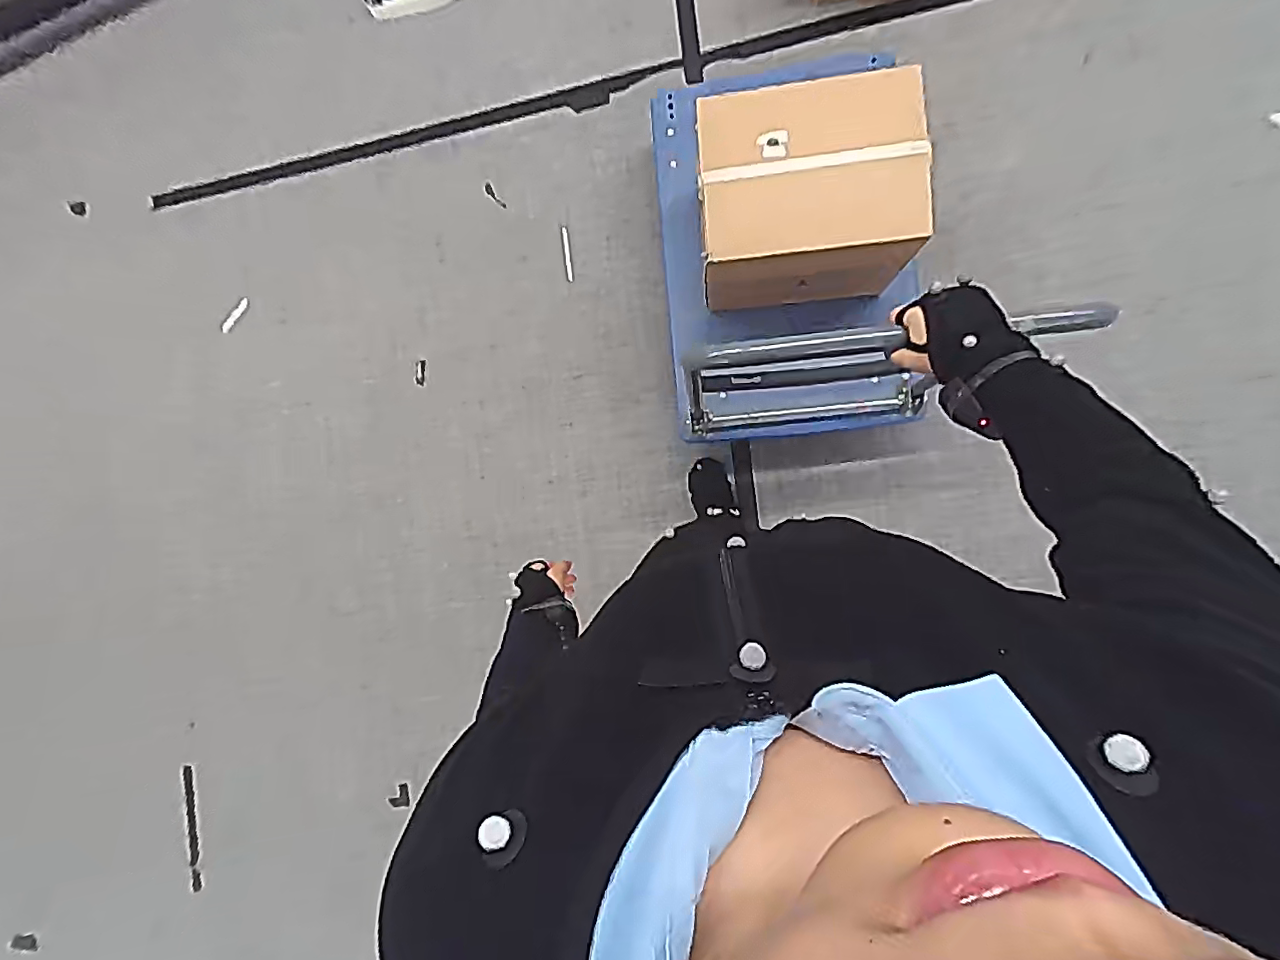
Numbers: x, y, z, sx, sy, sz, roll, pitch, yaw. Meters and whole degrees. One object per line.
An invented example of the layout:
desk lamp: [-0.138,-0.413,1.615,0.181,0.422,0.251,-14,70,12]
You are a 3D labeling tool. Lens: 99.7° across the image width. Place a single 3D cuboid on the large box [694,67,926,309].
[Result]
large box: [0.336,-0.584,1.156,0.408,0.320,0.320,-5,89,9]
